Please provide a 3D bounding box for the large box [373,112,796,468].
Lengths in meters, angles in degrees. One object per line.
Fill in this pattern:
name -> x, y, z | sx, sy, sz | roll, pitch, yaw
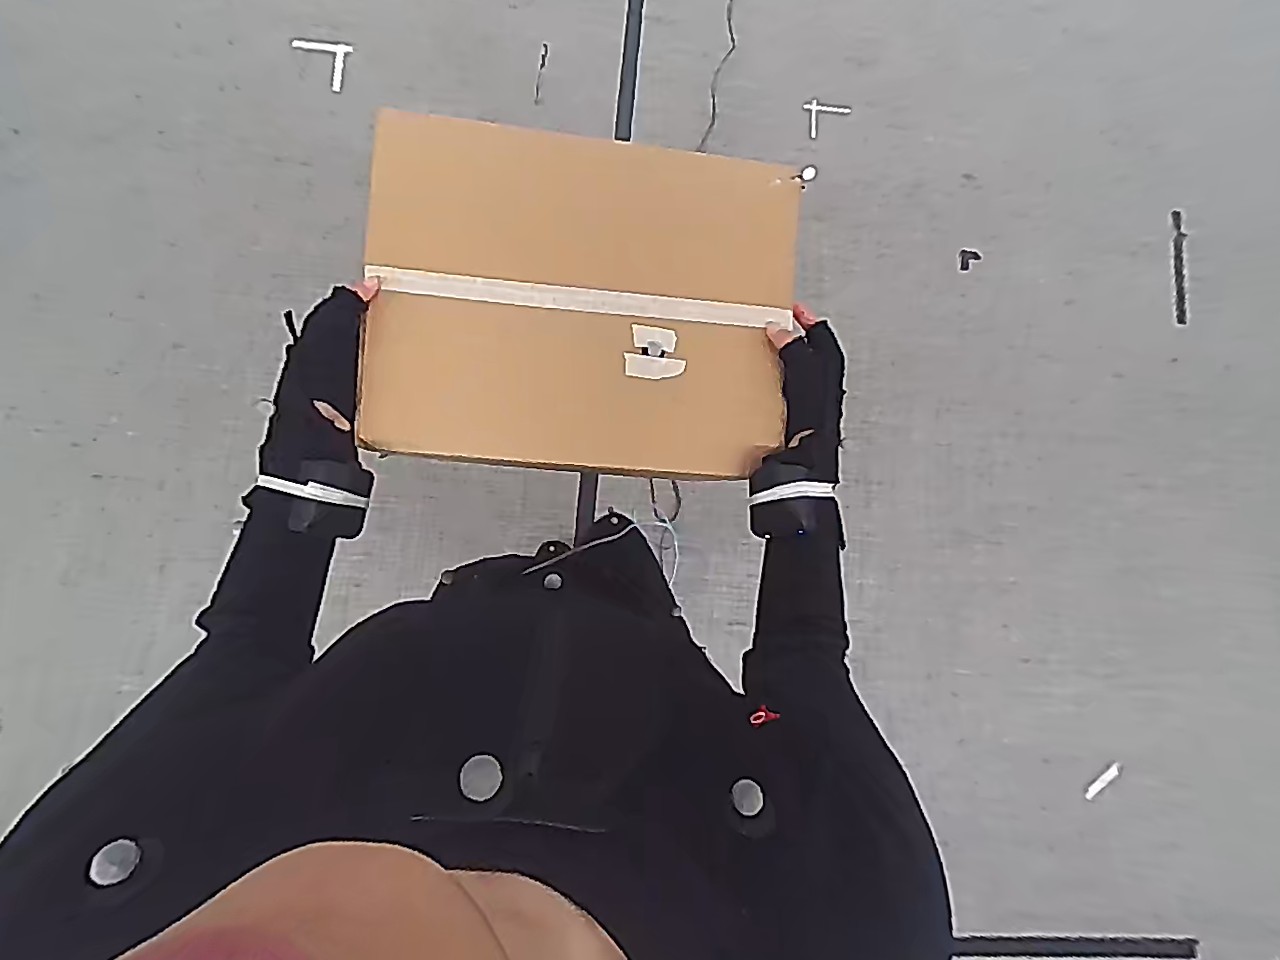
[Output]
large box -> -0.065, -0.183, 0.677 | 0.408, 0.320, 0.320 | 5, 91, -7
